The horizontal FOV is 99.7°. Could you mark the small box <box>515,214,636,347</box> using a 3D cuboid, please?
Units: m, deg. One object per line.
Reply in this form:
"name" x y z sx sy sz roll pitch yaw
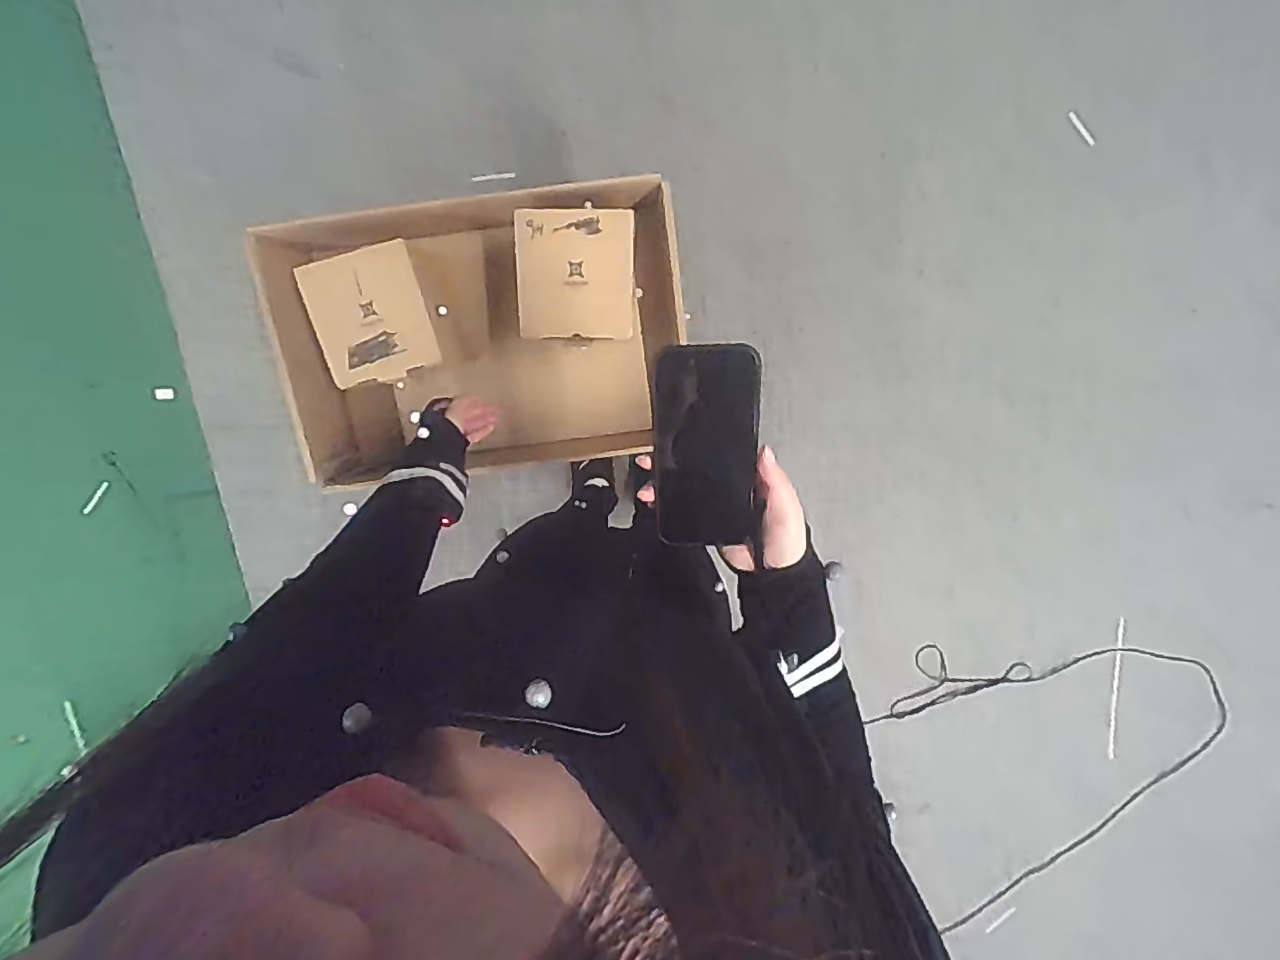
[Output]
"small box" -0.091 -0.300 0.838 0.168 0.176 0.179 1 104 0
